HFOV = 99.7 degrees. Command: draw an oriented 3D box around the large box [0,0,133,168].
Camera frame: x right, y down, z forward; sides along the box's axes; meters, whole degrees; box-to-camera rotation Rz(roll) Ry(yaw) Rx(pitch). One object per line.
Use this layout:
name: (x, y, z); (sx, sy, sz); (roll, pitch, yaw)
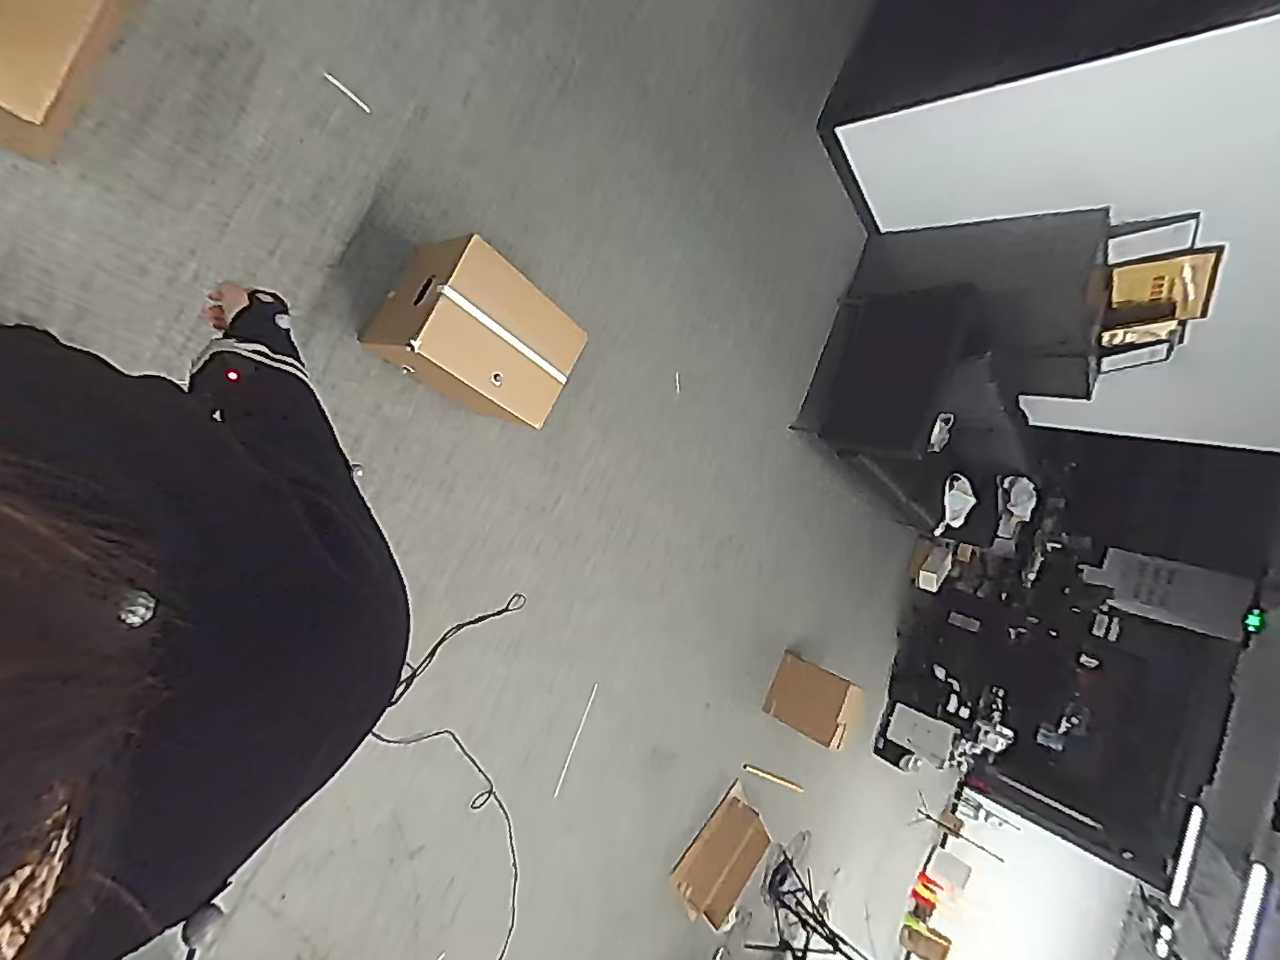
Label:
large box: (-0.986, -0.755, 0.777); (0.320, 0.320, 0.408); (25, 82, -47)
